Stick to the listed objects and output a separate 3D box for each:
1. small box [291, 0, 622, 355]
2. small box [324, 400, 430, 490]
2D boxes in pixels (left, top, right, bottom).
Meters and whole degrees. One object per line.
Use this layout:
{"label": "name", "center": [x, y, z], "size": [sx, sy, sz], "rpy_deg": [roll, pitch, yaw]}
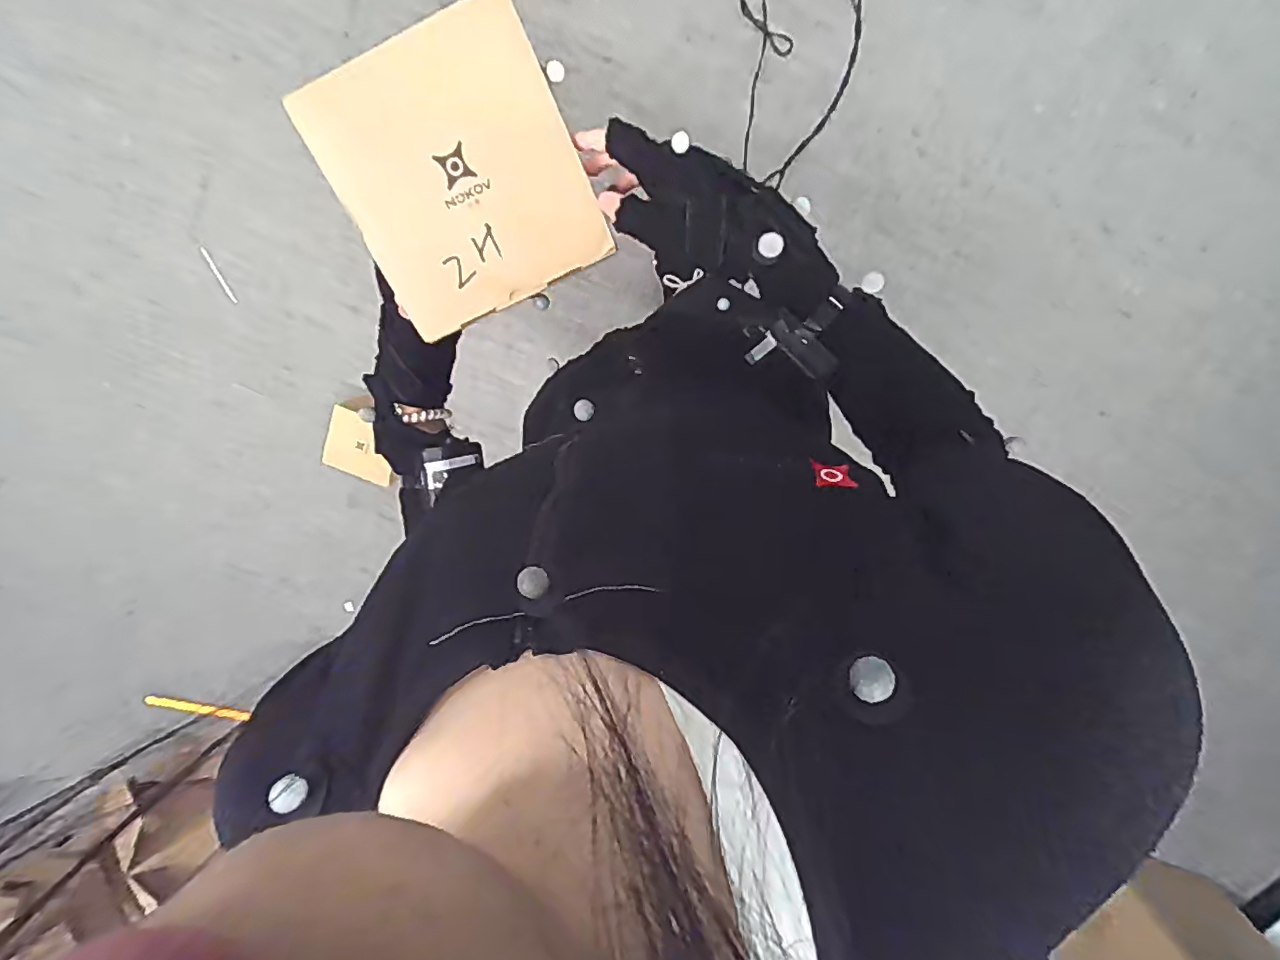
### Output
{"label": "small box", "center": [-0.127, -0.226, 0.447], "size": [0.168, 0.176, 0.179], "rpy_deg": [-24, 112, 6]}
{"label": "small box", "center": [-0.686, -0.100, 1.423], "size": [0.179, 0.176, 0.168], "rpy_deg": [22, 109, -6]}
